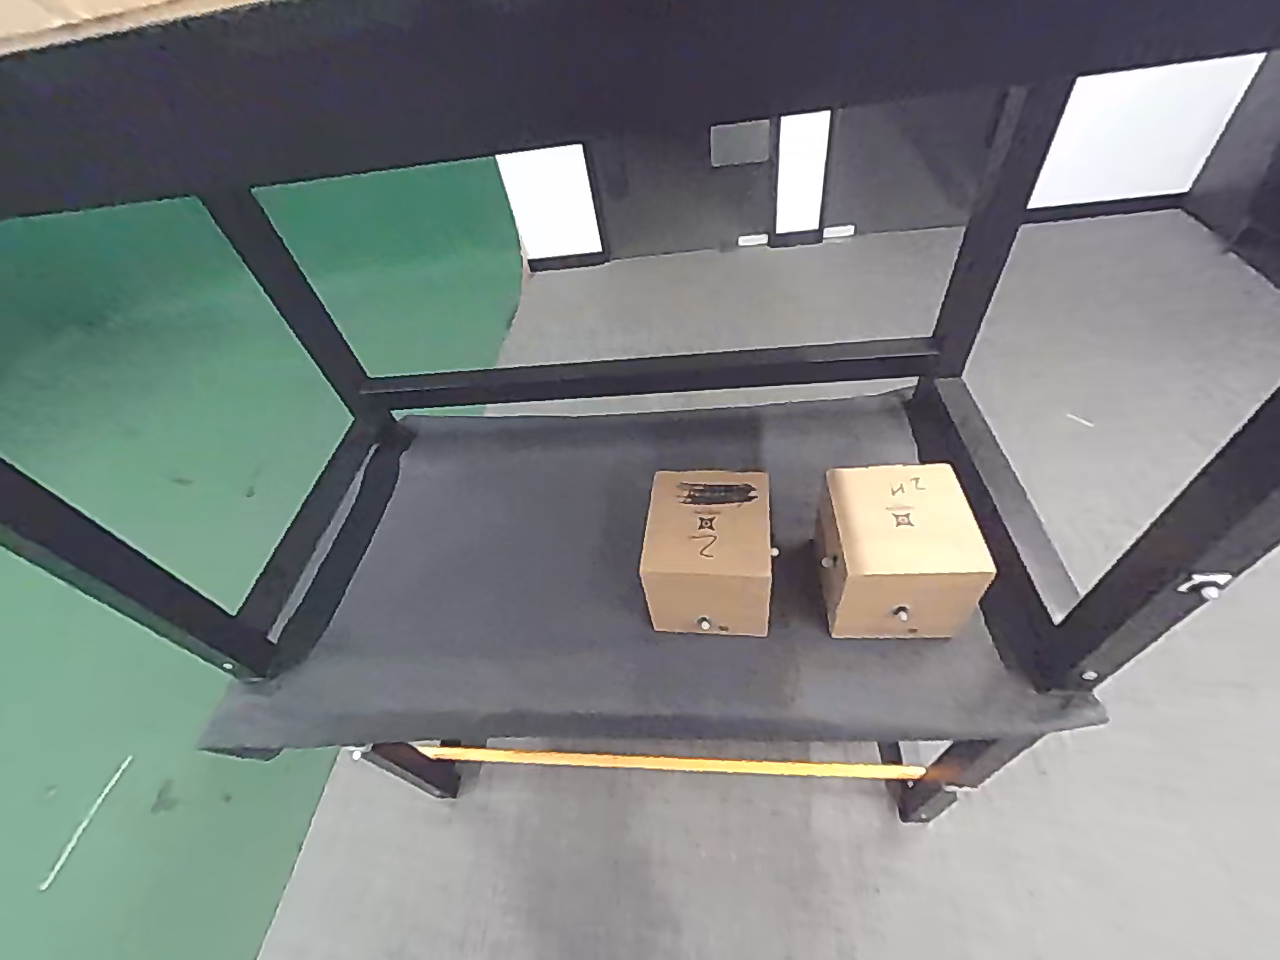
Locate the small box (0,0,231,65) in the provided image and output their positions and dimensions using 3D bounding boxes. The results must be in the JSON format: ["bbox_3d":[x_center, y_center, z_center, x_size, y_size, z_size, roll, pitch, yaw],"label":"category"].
[{"bbox_3d":[-0.368,-0.338,0.287,0.168,0.176,0.179,-3,48,9],"label":"small box"}]

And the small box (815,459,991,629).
[{"bbox_3d":[0.344,0.093,0.749,0.168,0.176,0.179,-2,48,8],"label":"small box"}]
